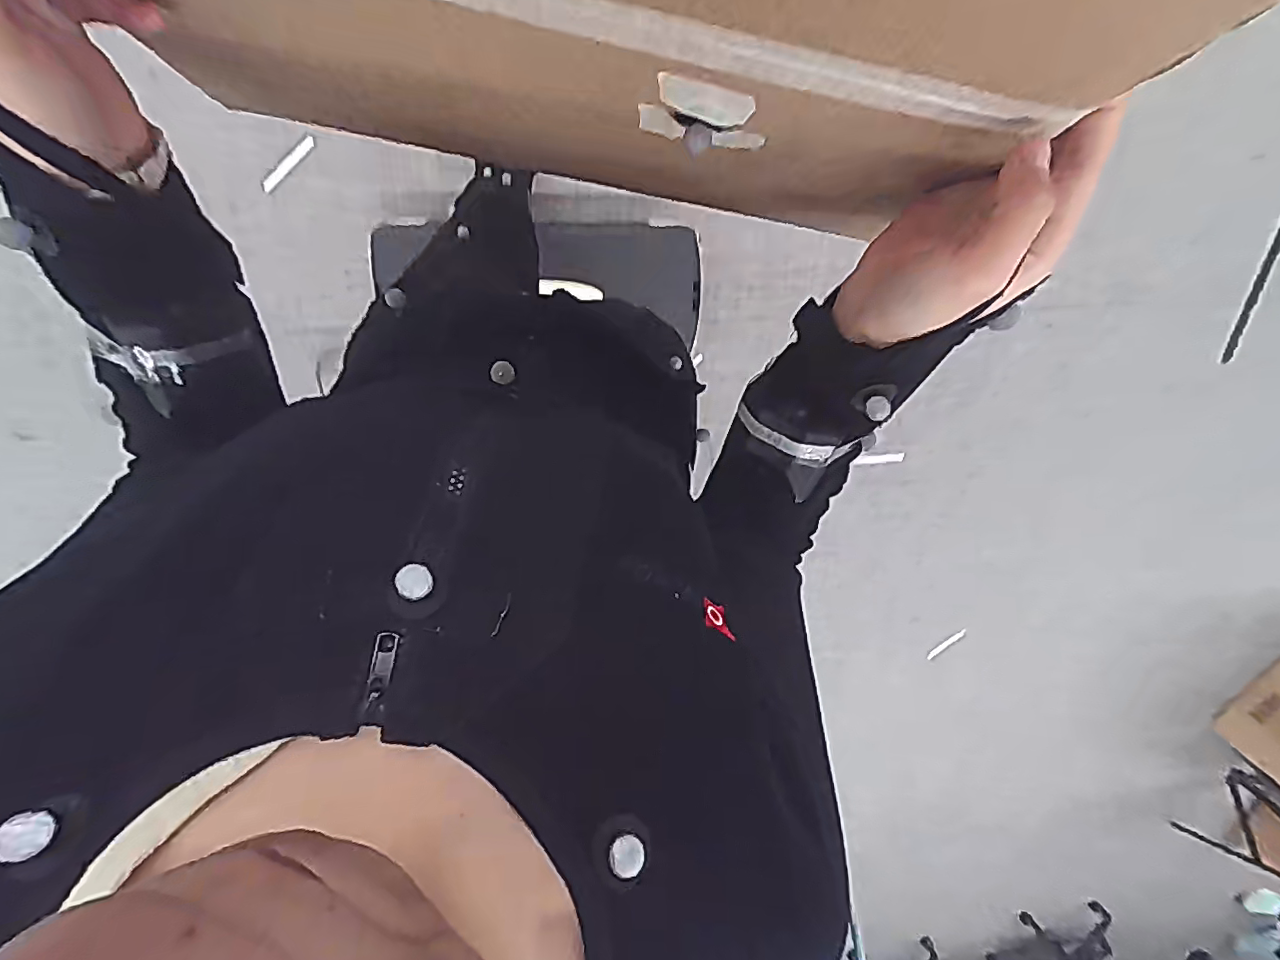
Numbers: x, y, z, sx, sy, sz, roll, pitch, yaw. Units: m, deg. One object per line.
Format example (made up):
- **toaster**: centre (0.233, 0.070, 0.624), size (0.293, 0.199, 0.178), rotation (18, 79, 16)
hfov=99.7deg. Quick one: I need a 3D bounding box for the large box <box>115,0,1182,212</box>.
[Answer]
- **large box**: centre (-0.015, -0.329, 0.169), size (0.408, 0.320, 0.320), rotation (8, 99, -5)
